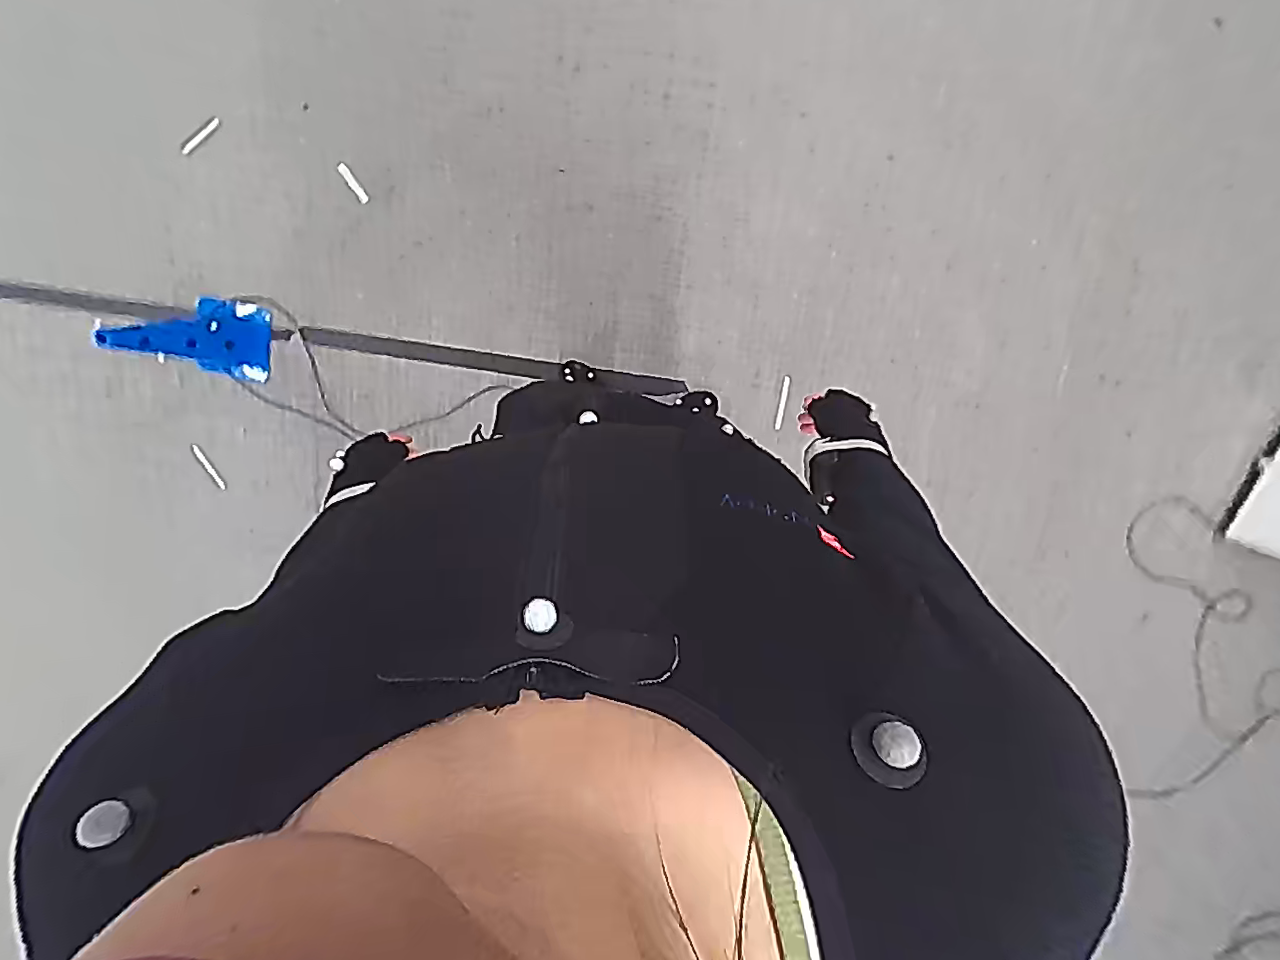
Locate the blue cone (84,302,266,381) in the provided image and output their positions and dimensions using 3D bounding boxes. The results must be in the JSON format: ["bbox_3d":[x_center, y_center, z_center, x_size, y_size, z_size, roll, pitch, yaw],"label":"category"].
[{"bbox_3d":[-1.100,-0.325,1.283,0.192,0.380,0.193,11,105,0],"label":"blue cone"}]
